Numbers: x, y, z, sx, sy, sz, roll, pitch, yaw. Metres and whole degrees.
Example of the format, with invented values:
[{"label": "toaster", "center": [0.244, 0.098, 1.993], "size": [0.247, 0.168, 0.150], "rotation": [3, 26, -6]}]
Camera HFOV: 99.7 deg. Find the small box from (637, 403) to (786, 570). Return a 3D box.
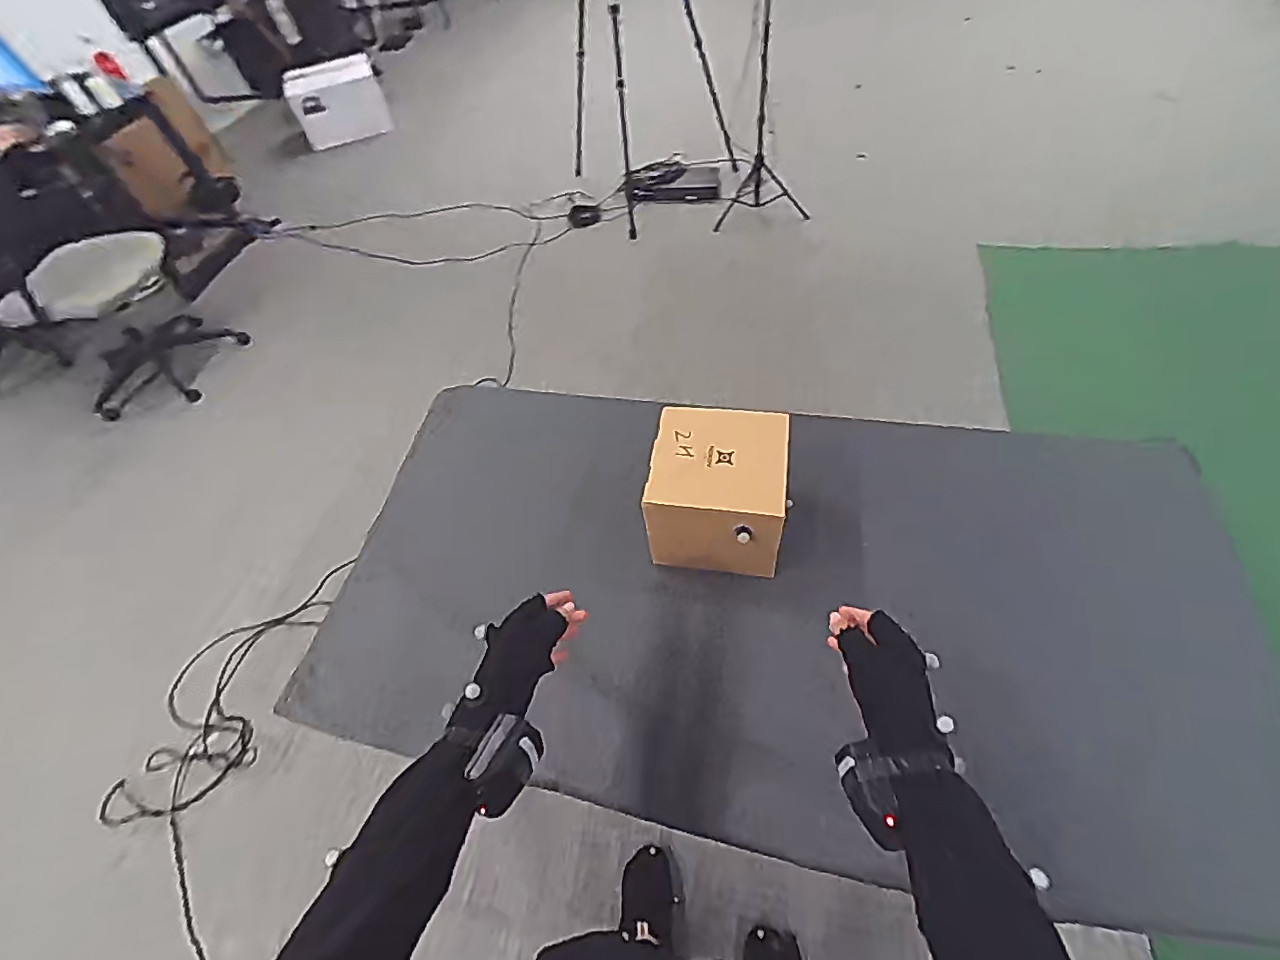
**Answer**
[{"label": "small box", "center": [0.105, 0.013, 0.758], "size": [0.179, 0.176, 0.168], "rotation": [4, 55, 12]}]
